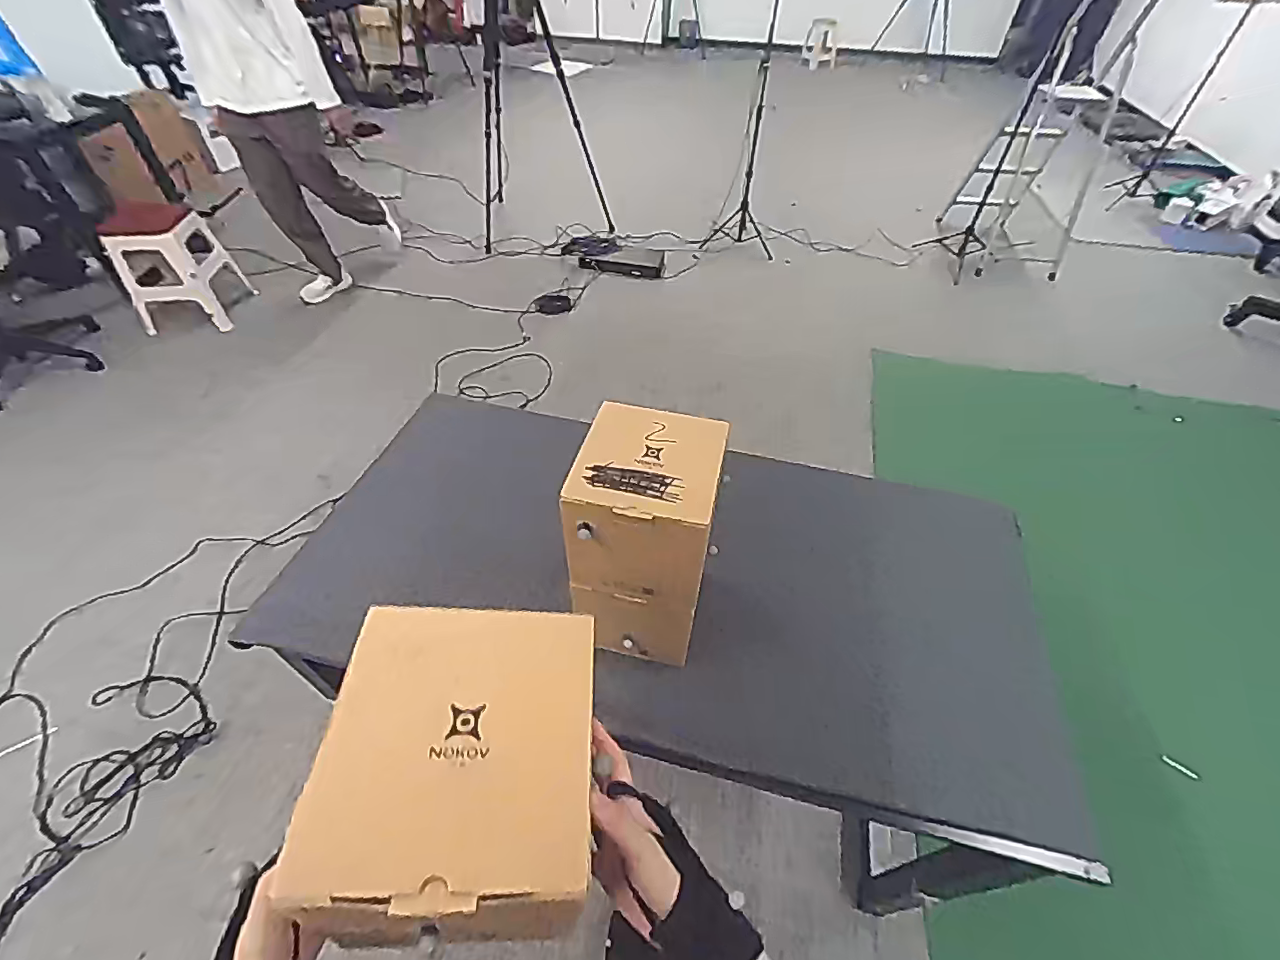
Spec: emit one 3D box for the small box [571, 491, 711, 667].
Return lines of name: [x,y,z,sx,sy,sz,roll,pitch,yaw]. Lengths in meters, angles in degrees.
small box: [0.003,0.148,0.806,0.168,0.176,0.179,11,48,8]

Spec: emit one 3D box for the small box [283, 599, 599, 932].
small box: [-0.123,0.212,0.403,0.168,0.176,0.179,5,45,-8]
